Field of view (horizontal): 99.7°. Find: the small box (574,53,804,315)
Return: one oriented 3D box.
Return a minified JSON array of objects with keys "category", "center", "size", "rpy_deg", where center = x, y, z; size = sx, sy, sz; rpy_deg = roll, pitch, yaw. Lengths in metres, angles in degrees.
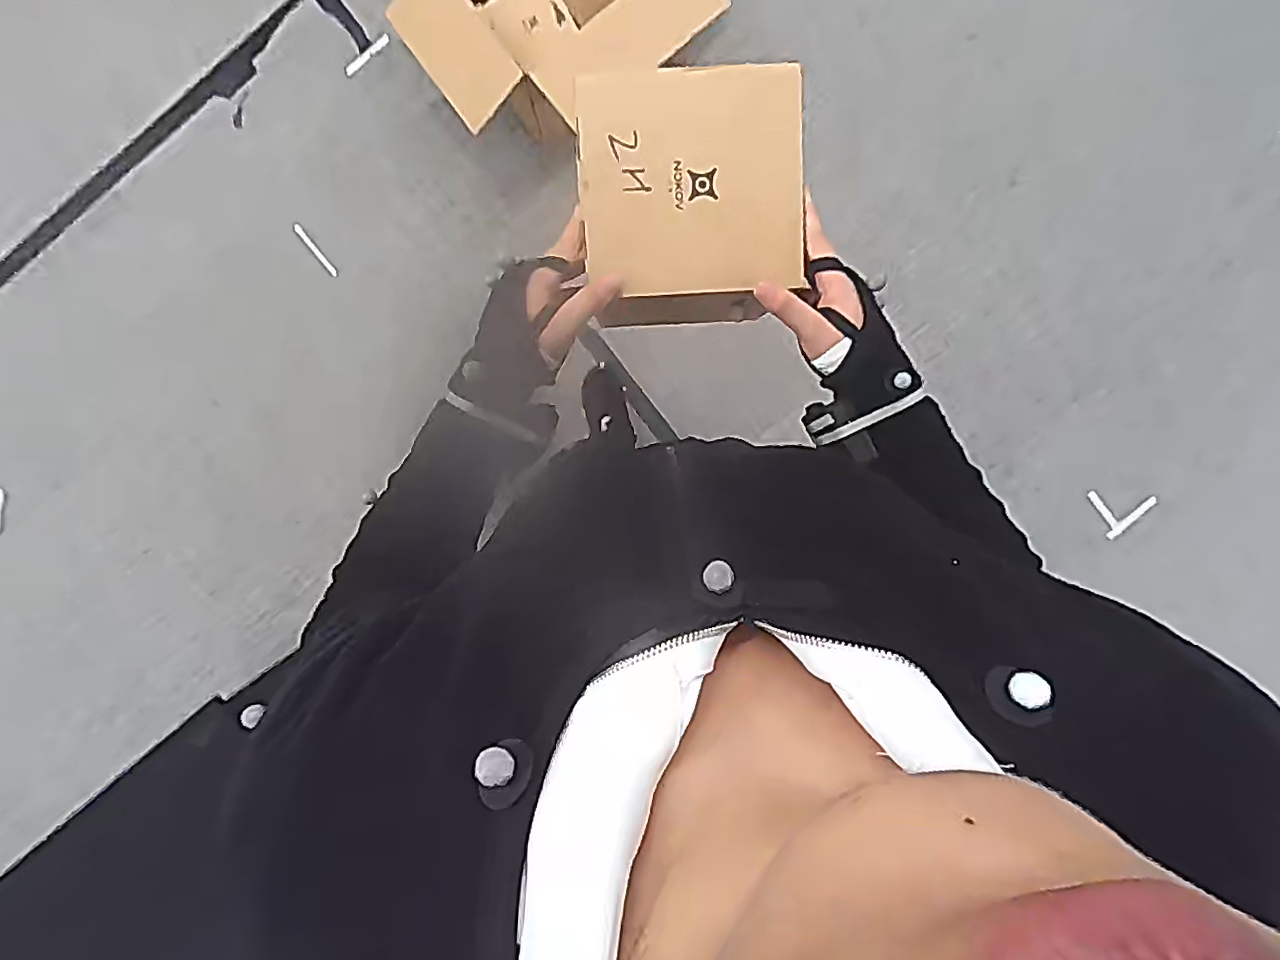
[{"category":"small box","center":[0.038,-0.249,0.496],"size":[0.179,0.176,0.168],"rpy_deg":[-3,99,0]}]
